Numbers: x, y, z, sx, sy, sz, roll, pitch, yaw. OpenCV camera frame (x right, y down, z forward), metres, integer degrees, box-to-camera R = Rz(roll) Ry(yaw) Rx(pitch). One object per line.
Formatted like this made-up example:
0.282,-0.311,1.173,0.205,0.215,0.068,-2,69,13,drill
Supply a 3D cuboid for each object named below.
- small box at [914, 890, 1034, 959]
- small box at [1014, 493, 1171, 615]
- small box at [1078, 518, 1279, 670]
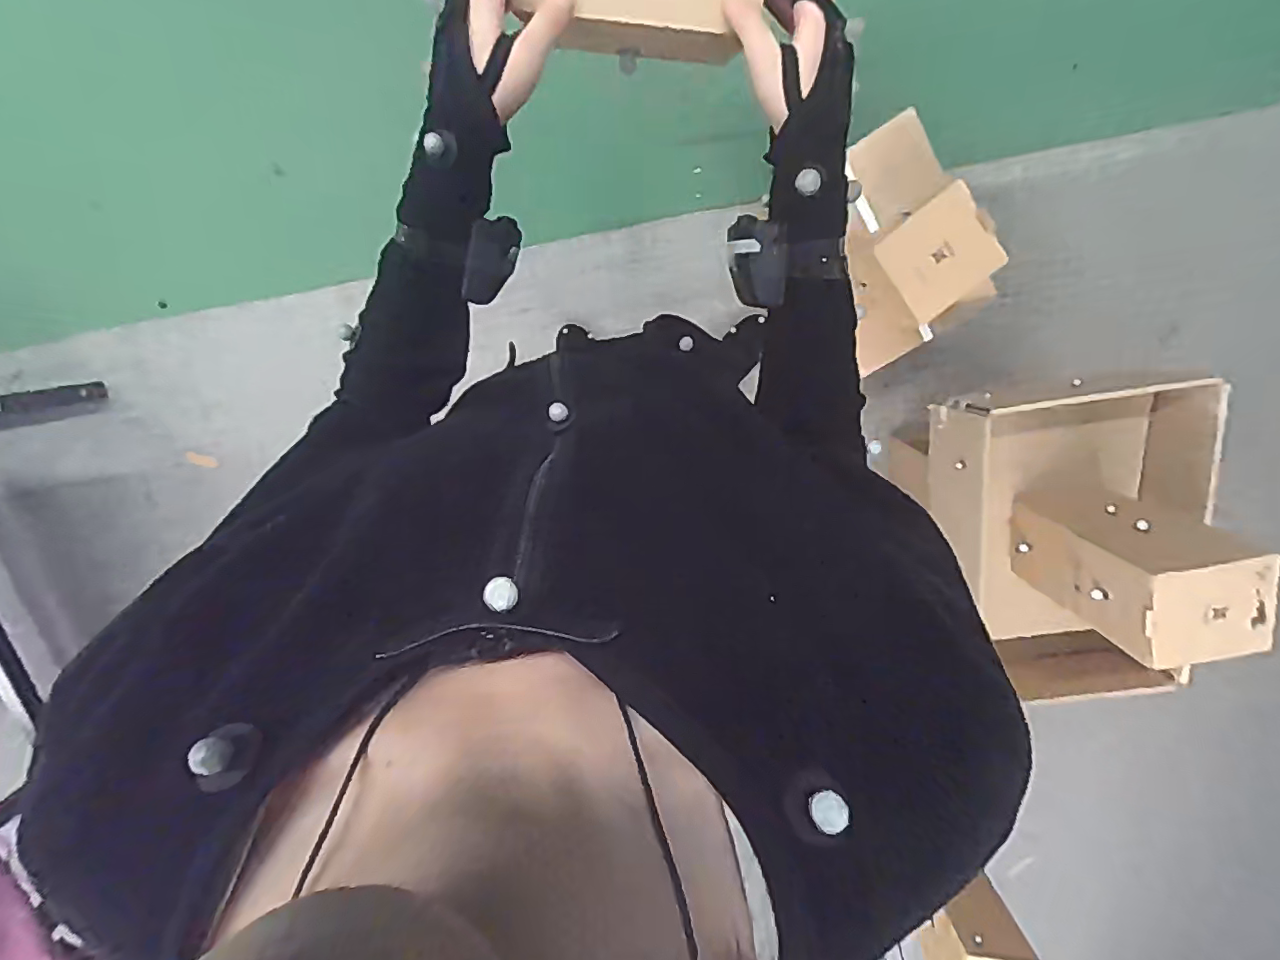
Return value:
0.779,1.097,1.253,0.179,0.176,0.168,9,106,-1,small box
0.853,0.132,1.023,0.179,0.176,0.168,-9,105,4,small box
0.846,0.174,0.866,0.179,0.176,0.168,-11,106,6,small box
